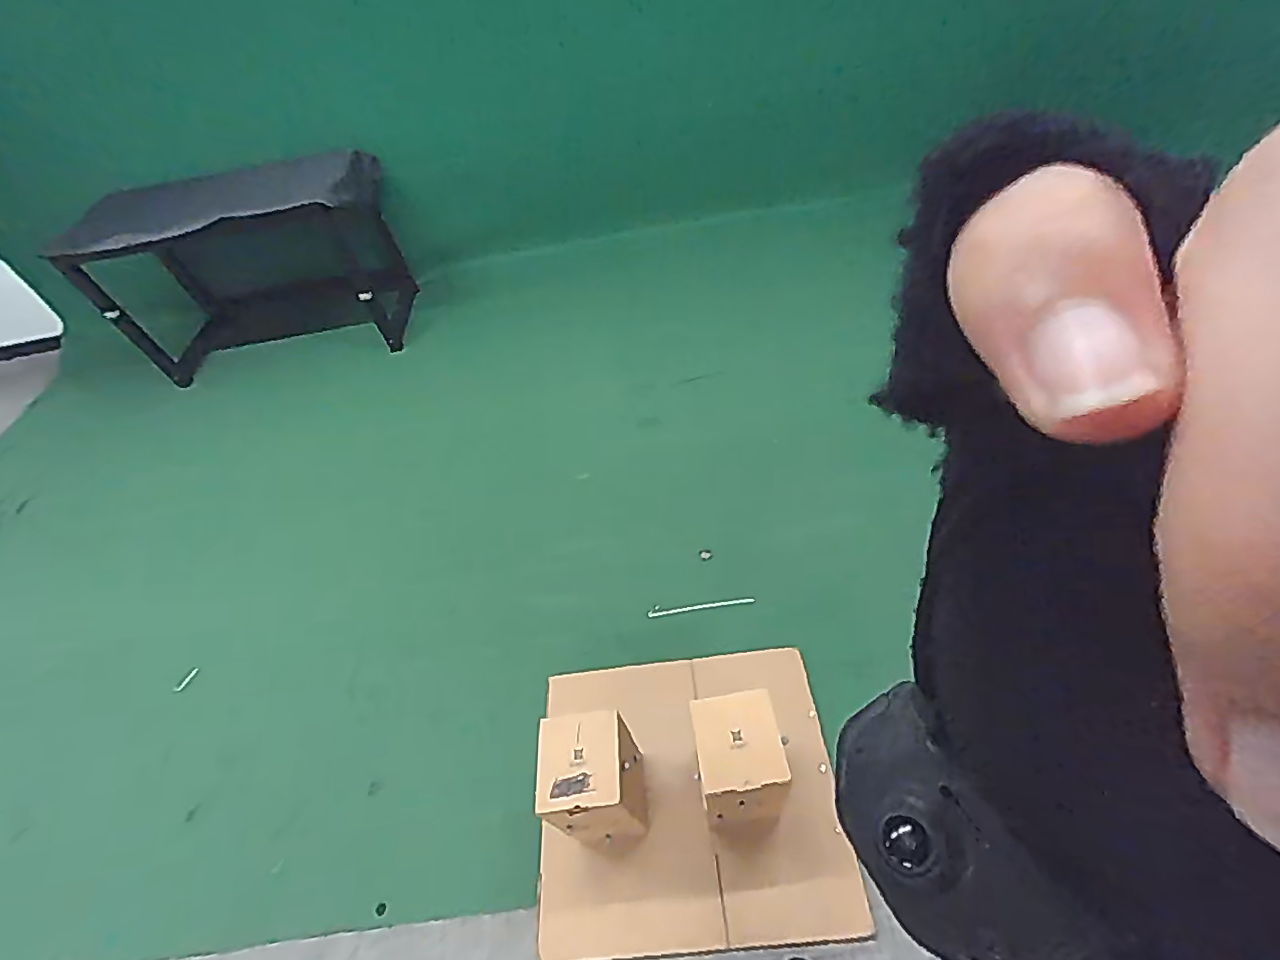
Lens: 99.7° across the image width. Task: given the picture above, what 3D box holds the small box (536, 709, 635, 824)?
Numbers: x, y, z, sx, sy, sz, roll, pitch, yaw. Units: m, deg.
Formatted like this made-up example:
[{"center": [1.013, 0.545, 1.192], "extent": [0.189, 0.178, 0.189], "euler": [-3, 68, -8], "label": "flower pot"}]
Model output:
[{"center": [-0.106, 0.596, 1.116], "extent": [0.168, 0.176, 0.179], "euler": [-9, 47, 5], "label": "small box"}]

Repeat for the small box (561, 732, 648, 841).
[{"center": [-0.079, 0.704, 1.237], "extent": [0.168, 0.176, 0.179], "euler": [-10, 48, 4], "label": "small box"}]

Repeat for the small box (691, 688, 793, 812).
[{"center": [0.201, 0.551, 1.101], "extent": [0.168, 0.176, 0.179], "euler": [-11, 48, 2], "label": "small box"}]
